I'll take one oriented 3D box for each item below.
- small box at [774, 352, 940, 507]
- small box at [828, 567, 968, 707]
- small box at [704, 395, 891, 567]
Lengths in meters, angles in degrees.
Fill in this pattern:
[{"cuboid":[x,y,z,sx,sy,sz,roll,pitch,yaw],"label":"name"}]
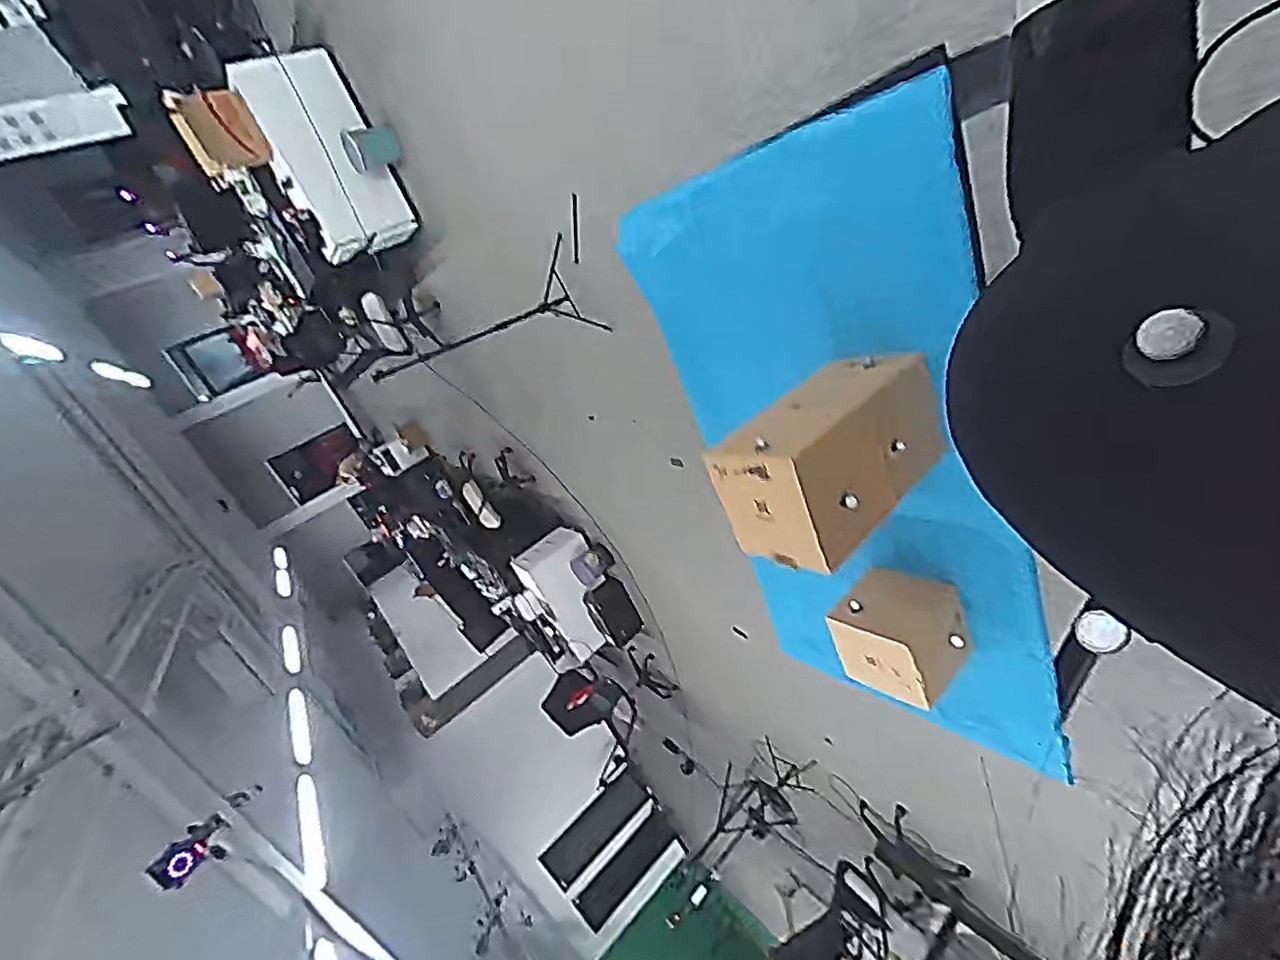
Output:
[{"cuboid":[0.349,-0.083,0.861,0.168,0.176,0.179,9,130,55],"label":"small box"},{"cuboid":[0.504,0.293,1.054,0.179,0.176,0.168,11,132,52],"label":"small box"},{"cuboid":[0.231,-0.004,0.782,0.168,0.176,0.179,4,125,58],"label":"small box"}]
